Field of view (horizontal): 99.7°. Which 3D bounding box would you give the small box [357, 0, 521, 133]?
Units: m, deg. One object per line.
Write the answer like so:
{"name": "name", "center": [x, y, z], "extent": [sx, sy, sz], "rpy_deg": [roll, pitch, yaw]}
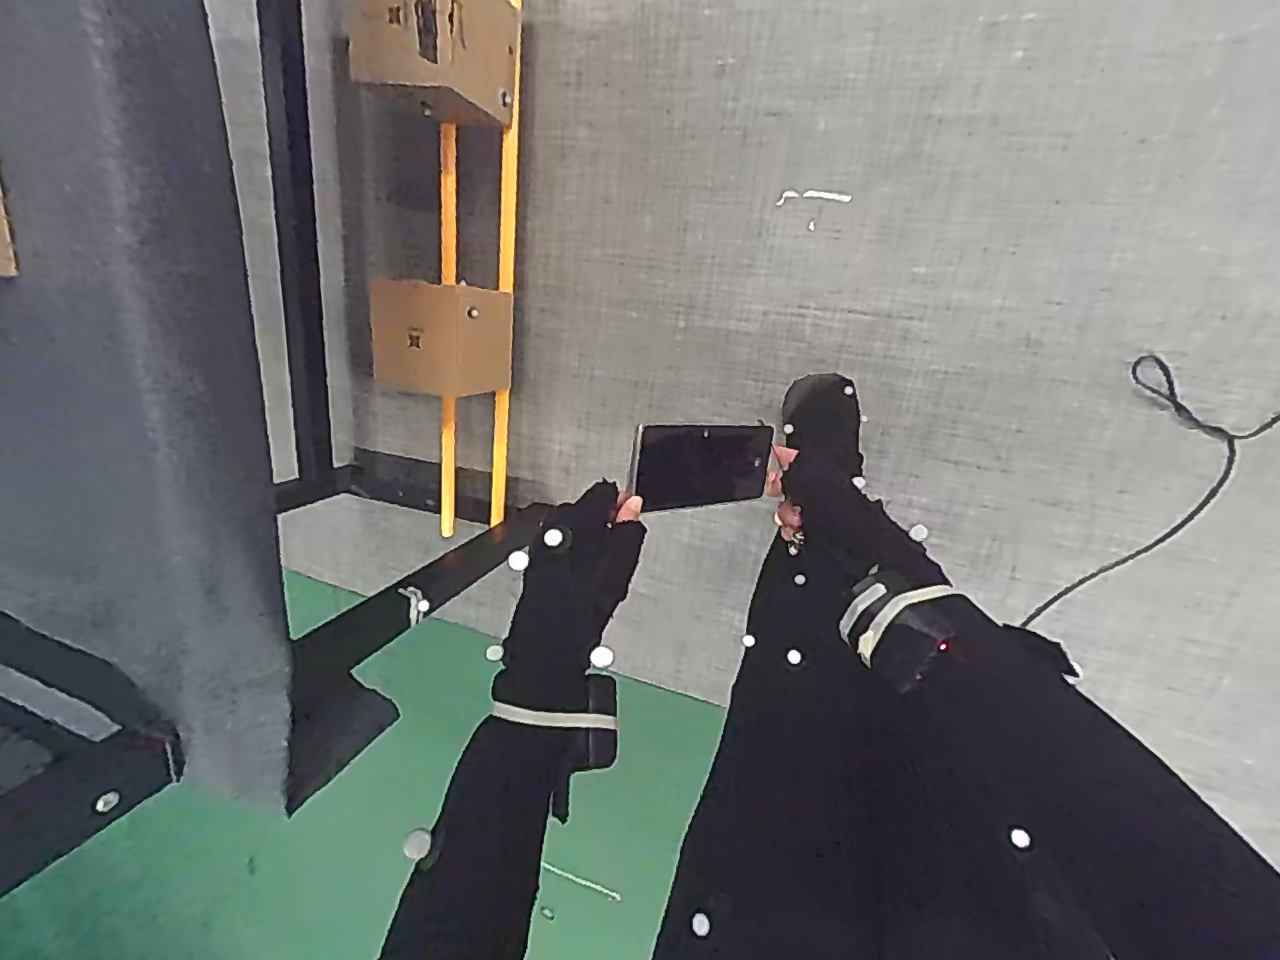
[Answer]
{"name": "small box", "center": [-0.301, -0.656, 0.830], "extent": [0.179, 0.176, 0.168], "rpy_deg": [14, 108, 15]}
